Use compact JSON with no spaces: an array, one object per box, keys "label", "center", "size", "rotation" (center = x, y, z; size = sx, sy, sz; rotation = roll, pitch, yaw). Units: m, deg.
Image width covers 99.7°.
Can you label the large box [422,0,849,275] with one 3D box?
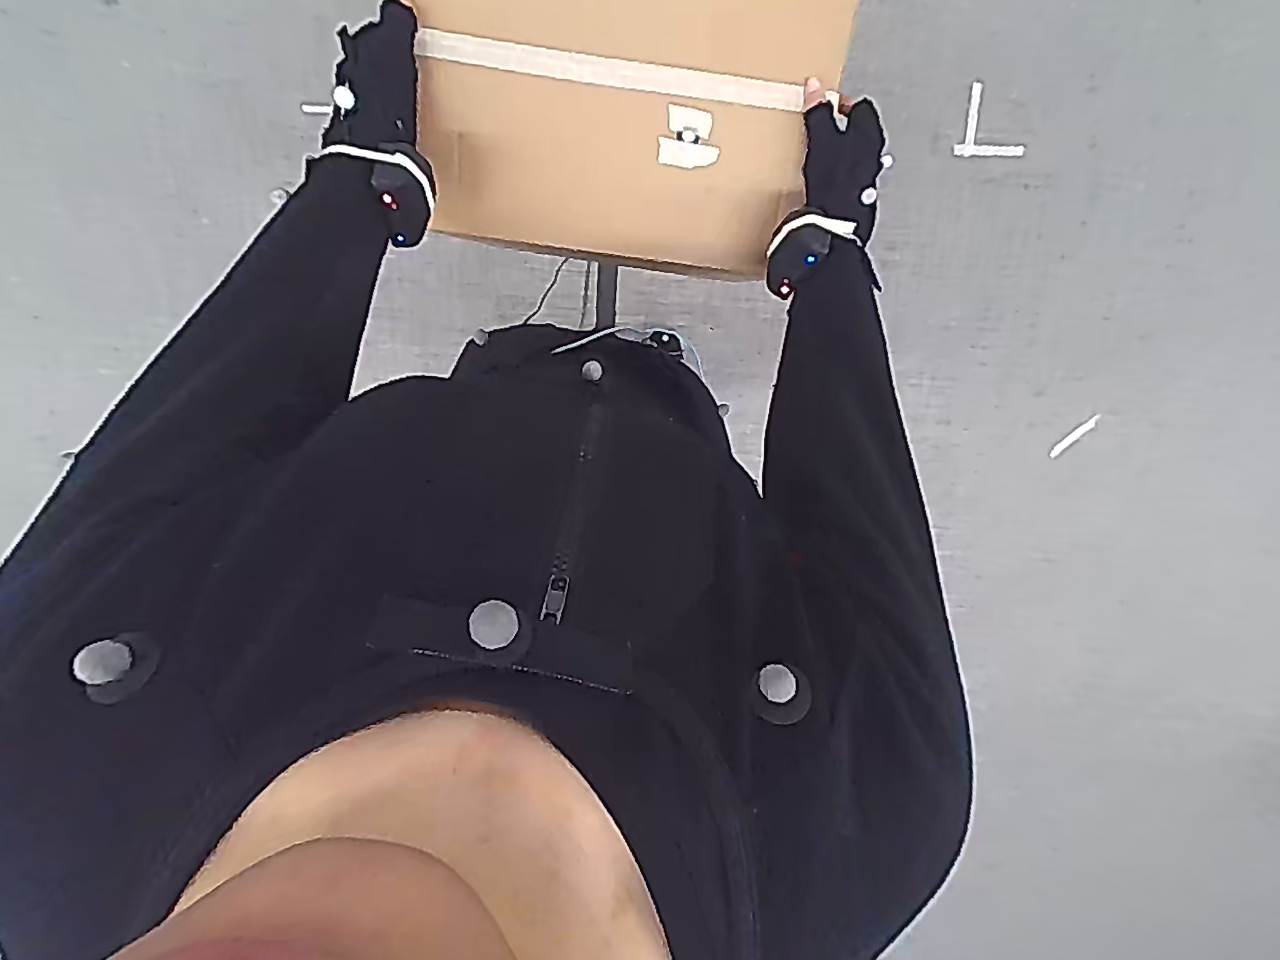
[{"label":"large box","center":[-0.015,-0.437,0.665],"size":[0.408,0.320,0.320],"rotation":[6,111,-4]}]
